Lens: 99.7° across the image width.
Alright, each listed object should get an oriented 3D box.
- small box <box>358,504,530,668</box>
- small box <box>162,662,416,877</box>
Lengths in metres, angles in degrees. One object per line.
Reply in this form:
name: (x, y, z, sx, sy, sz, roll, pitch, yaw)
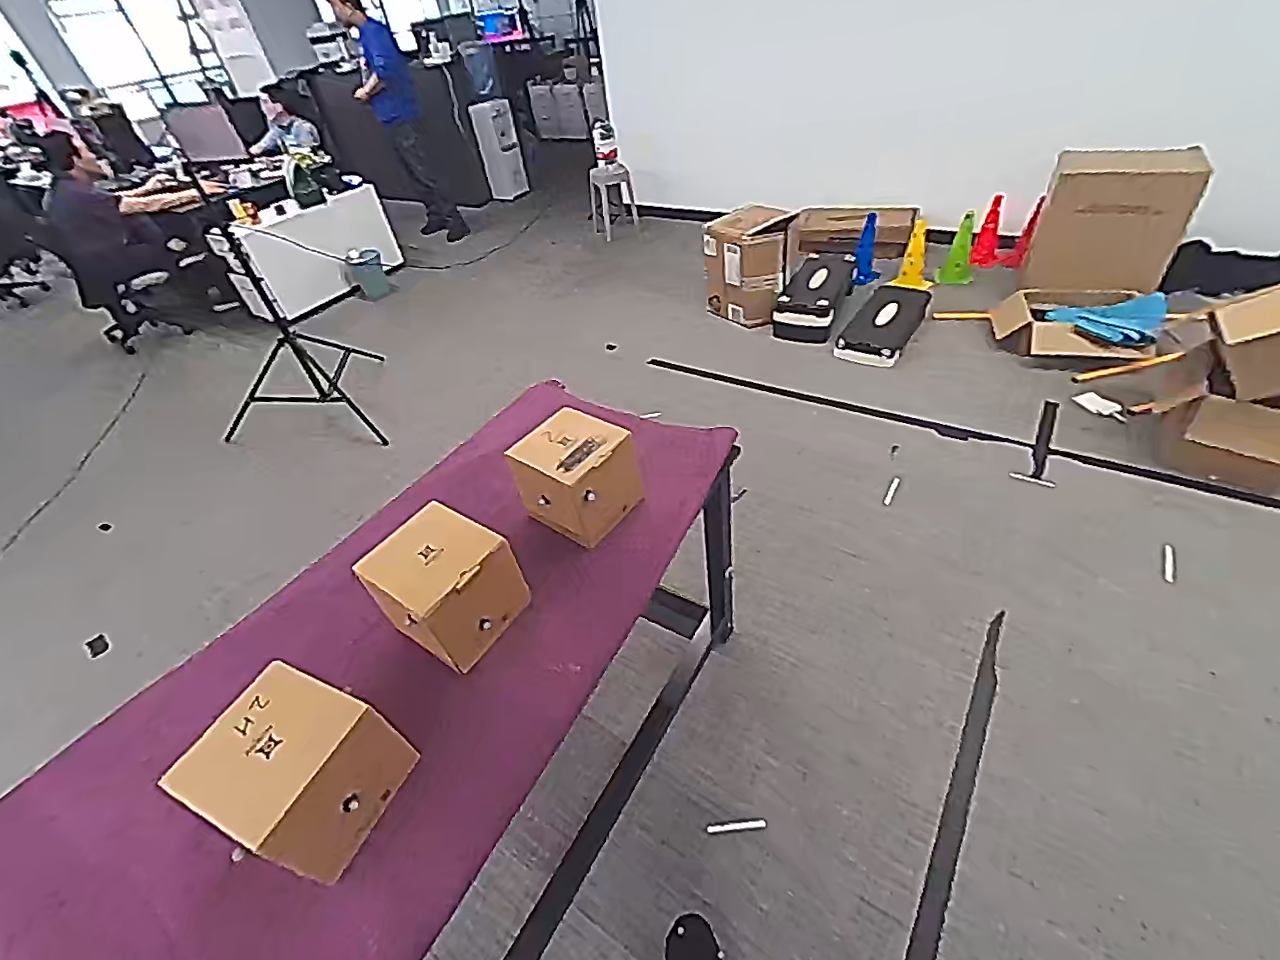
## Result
small box: (-0.309, 0.173, 0.880, 0.179, 0.176, 0.168, 21, 51, 28)
small box: (-0.425, 0.368, 0.687, 0.179, 0.176, 0.168, 13, 46, 22)
